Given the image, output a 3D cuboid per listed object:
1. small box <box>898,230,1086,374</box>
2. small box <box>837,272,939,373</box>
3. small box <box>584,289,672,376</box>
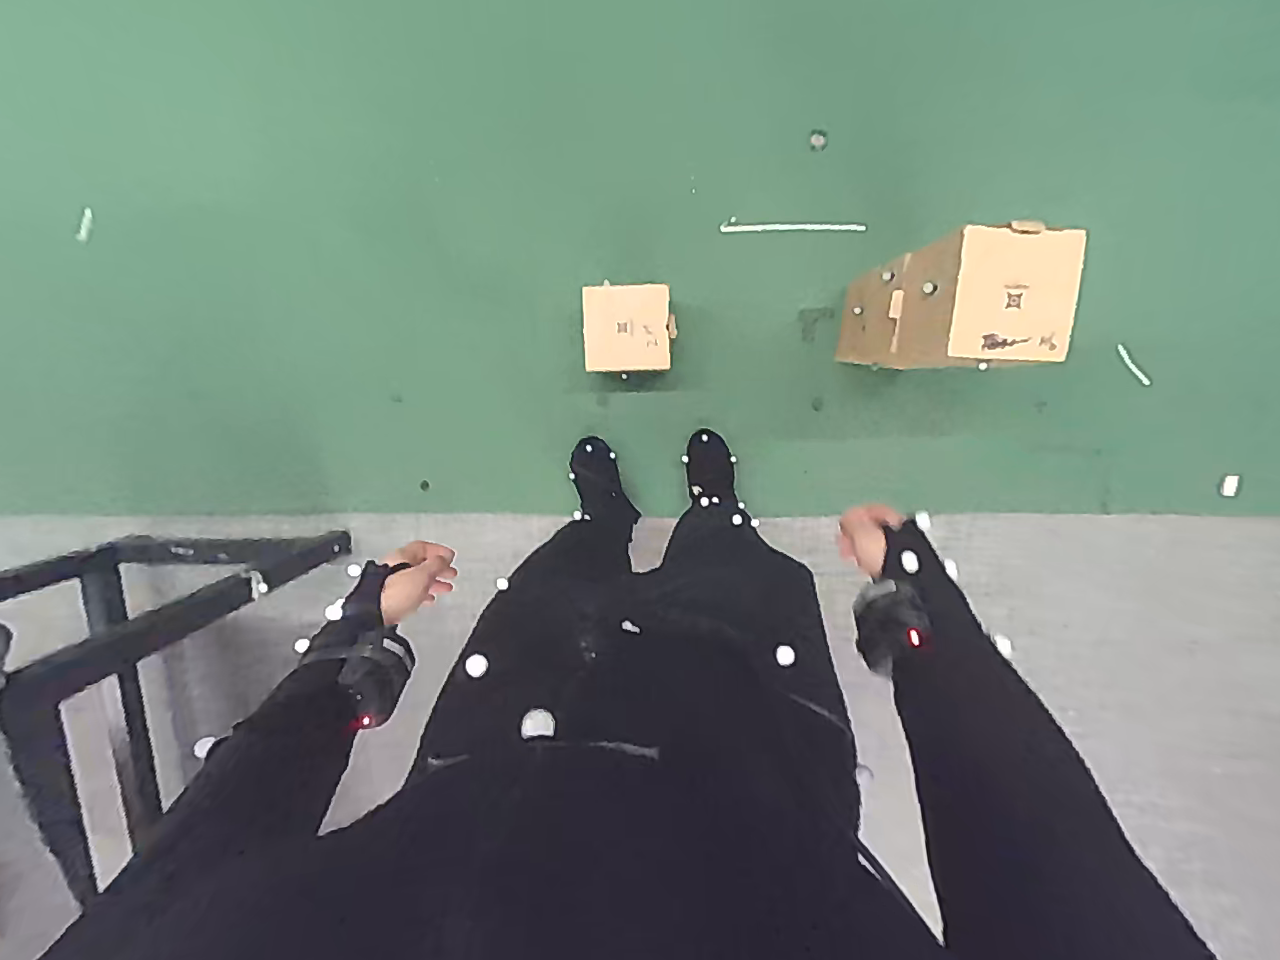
[{"bbox_3d":[0.516,-0.258,0.819,0.168,0.176,0.179,3,99,0],"label":"small box"},{"bbox_3d":[0.532,-0.323,1.142,0.168,0.176,0.179,7,99,0],"label":"small box"},{"bbox_3d":[-0.020,-0.309,1.158,0.179,0.176,0.168,-1,100,2],"label":"small box"}]
